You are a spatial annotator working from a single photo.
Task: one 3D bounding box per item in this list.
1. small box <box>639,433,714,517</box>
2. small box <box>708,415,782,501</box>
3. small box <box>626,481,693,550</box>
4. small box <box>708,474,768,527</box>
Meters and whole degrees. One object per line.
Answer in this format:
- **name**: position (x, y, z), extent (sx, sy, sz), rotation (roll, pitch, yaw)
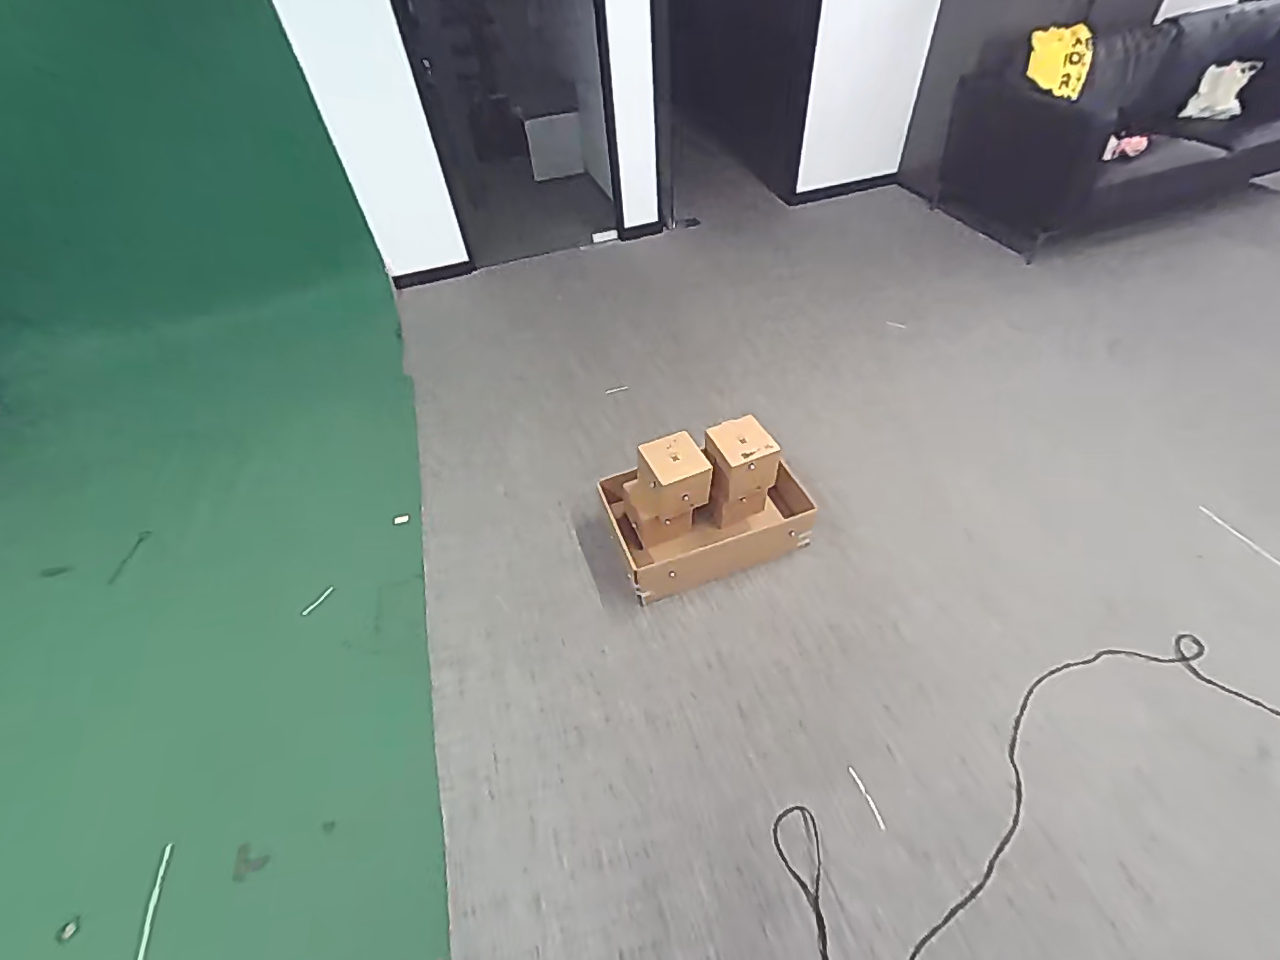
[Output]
- **small box**: position (0.110, -0.007, 1.651), extent (0.168, 0.176, 0.179), rotation (-20, 51, -15)
- **small box**: position (0.319, -0.066, 1.680), extent (0.168, 0.176, 0.179), rotation (-21, 49, -11)
- **small box**: position (0.068, 0.104, 1.774), extent (0.179, 0.176, 0.168), rotation (-19, 50, -14)
- **small box**: position (0.318, 0.030, 1.815), extent (0.179, 0.176, 0.168), rotation (-24, 50, -14)
